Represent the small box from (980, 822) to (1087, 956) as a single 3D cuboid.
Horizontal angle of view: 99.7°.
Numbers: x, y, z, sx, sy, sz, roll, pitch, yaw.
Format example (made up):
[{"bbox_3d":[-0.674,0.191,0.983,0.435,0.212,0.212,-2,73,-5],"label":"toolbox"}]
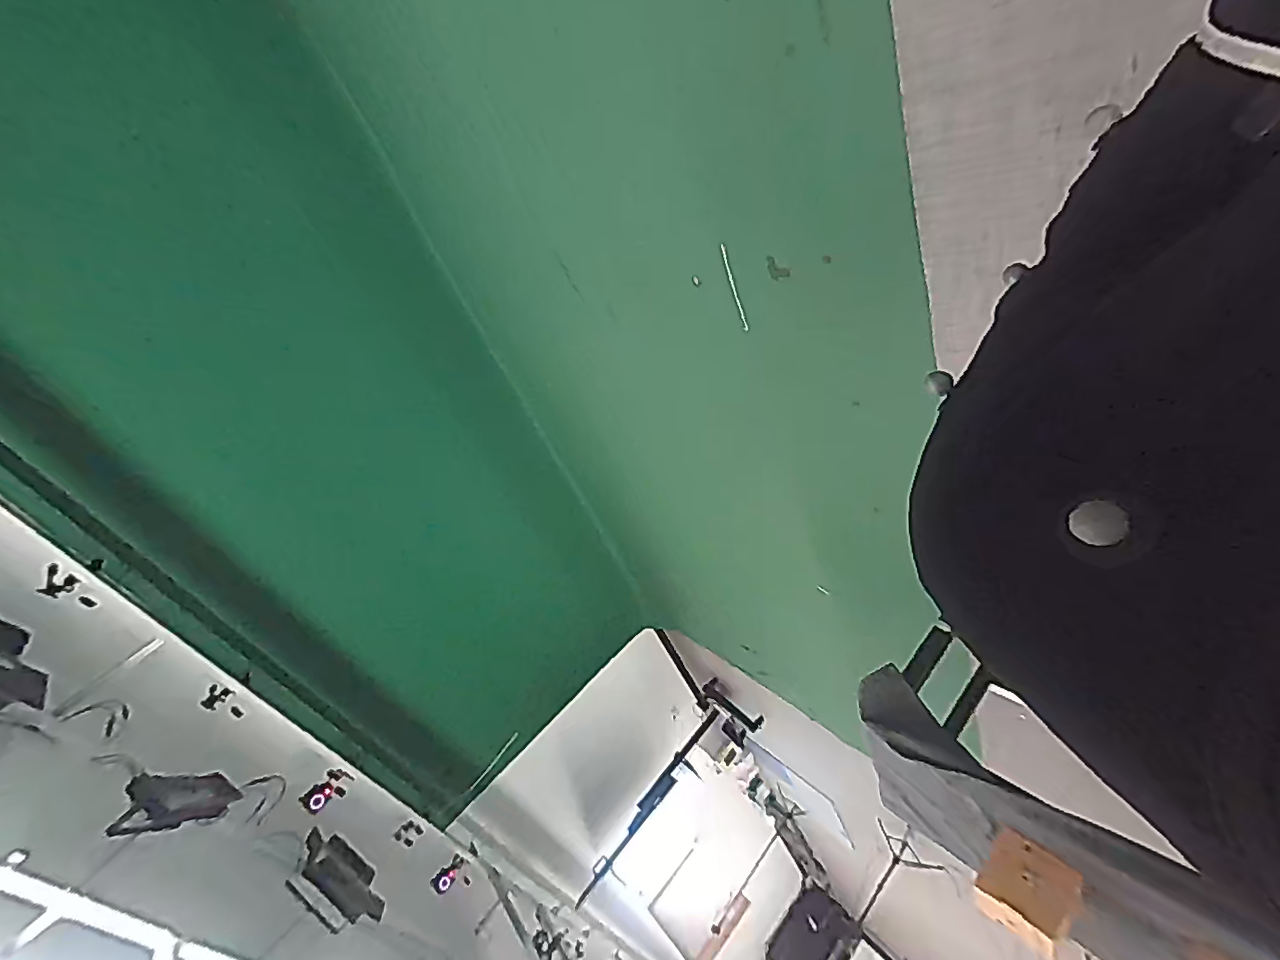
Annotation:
[{"bbox_3d":[0.947,0.975,1.302,0.168,0.176,0.179,19,144,49],"label":"small box"}]
